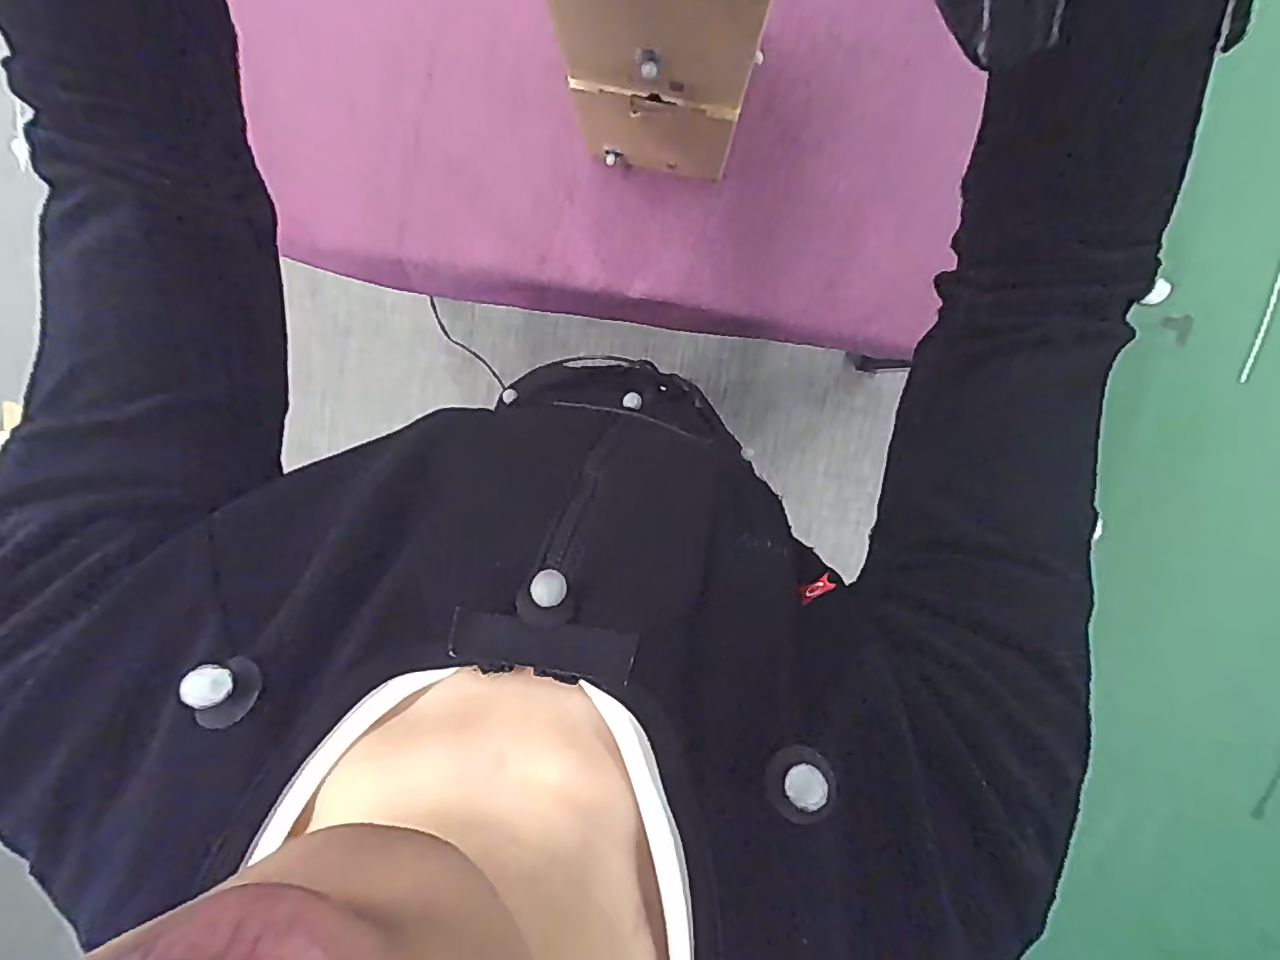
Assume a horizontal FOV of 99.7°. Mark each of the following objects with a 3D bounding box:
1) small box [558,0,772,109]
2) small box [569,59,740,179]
[{"bbox_3d":[0.027,-0.432,0.414,0.168,0.176,0.179,11,100,0],"label":"small box"},{"bbox_3d":[0.032,-0.452,0.577,0.168,0.176,0.179,11,99,0],"label":"small box"}]
